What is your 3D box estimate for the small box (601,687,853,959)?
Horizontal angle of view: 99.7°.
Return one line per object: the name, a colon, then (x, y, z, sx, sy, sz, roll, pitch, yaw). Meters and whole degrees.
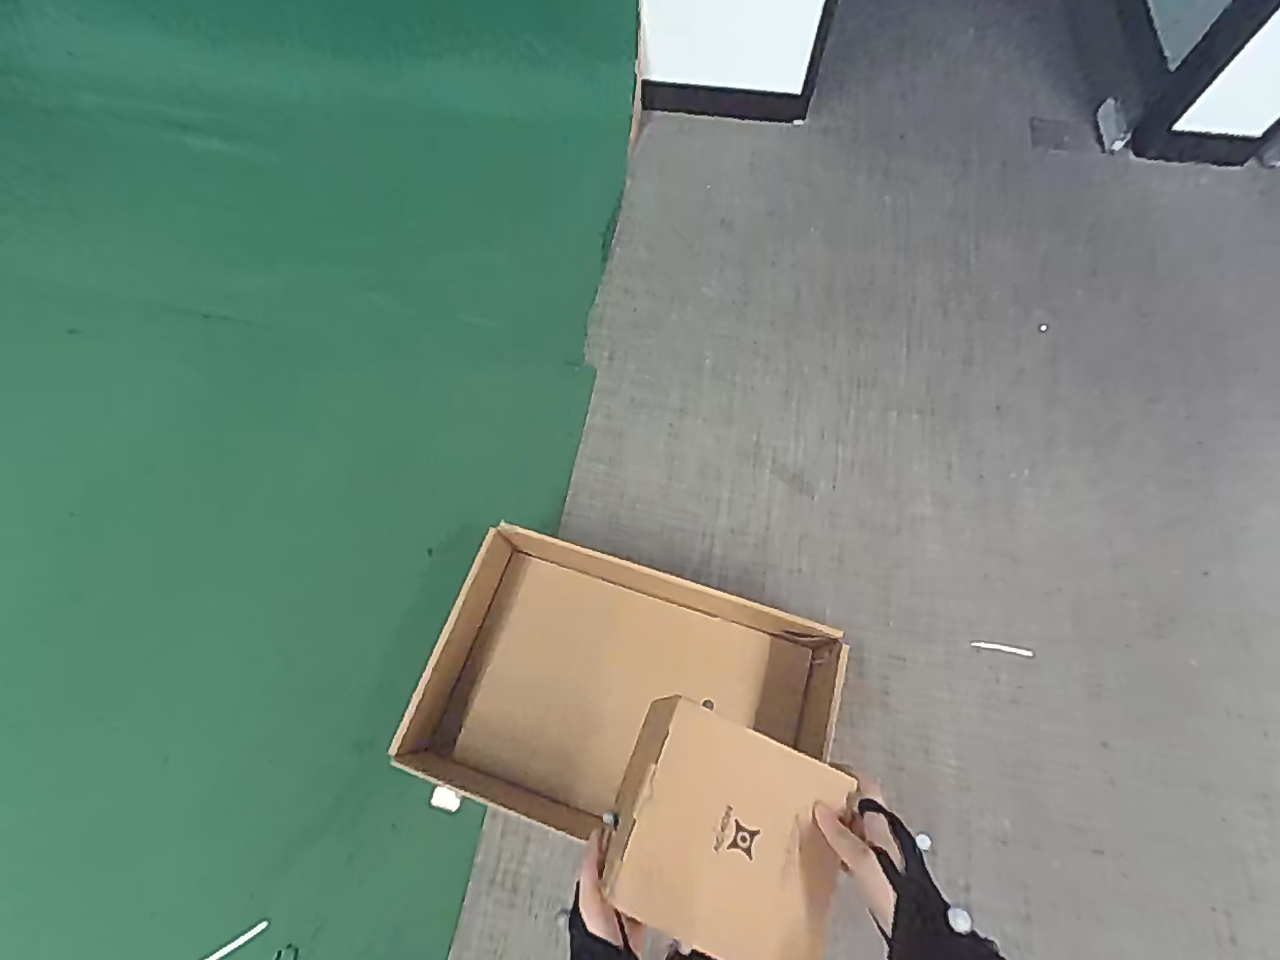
small box: (0.072, 0.325, 0.531, 0.179, 0.176, 0.168, 25, 65, 3)
